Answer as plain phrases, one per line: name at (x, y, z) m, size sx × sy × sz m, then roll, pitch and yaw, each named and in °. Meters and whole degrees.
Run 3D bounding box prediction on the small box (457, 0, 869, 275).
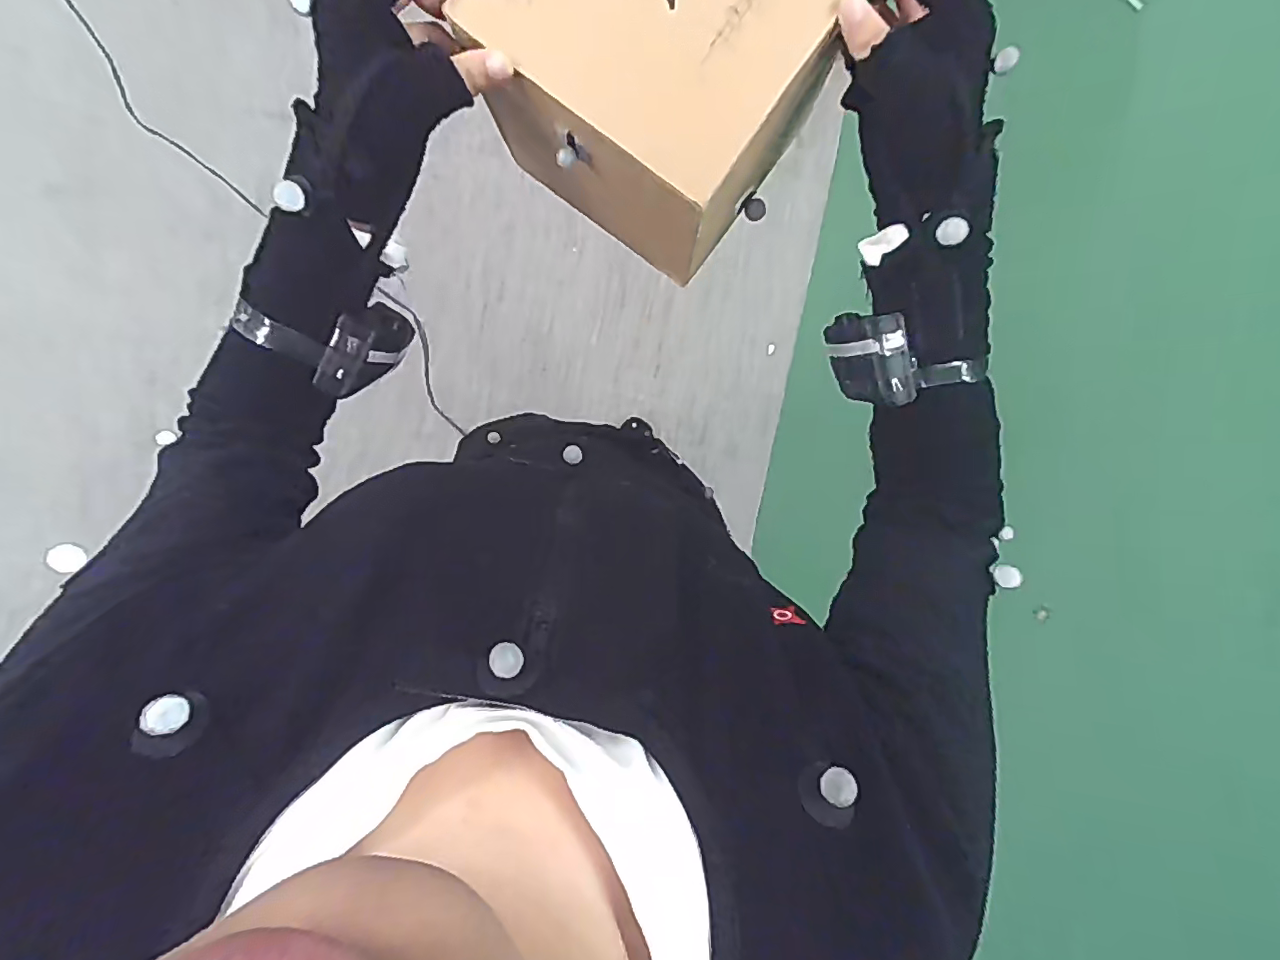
small box at (0.018, -0.269, 0.364) m, size 0.179 × 0.176 × 0.168 m, roll 35°, pitch 95°, yaw -2°
